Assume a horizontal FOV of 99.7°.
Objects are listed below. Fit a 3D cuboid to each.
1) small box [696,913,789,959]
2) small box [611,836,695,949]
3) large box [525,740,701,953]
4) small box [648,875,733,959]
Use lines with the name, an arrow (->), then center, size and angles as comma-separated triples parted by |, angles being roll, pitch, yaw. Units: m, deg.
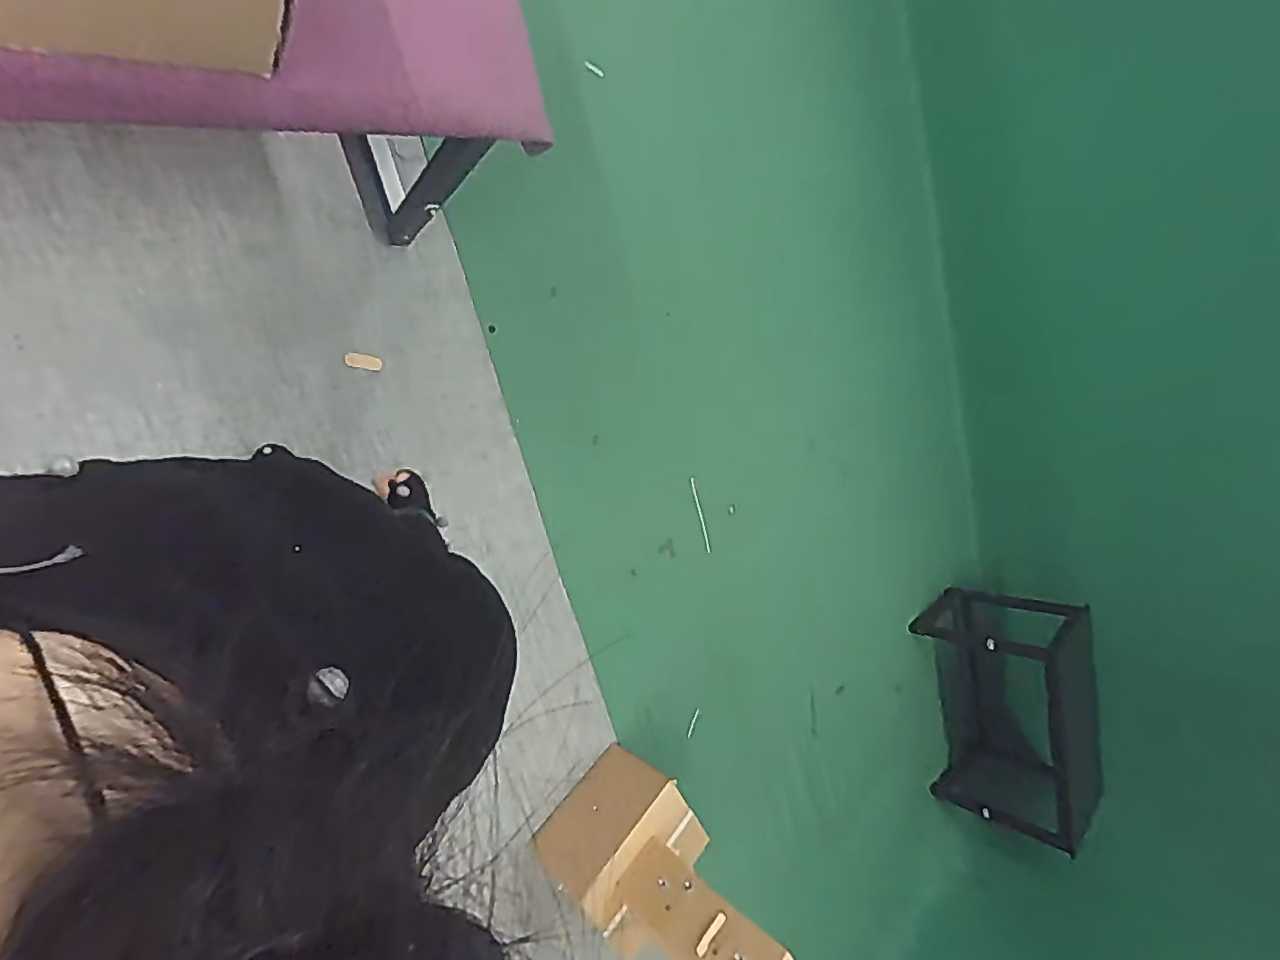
small box -> 0.253, 1.175, 1.269 | 0.168, 0.176, 0.179 | -36, 110, -32
small box -> 0.051, 1.163, 1.528 | 0.179, 0.176, 0.168 | -36, 111, -32
large box -> -0.083, 1.143, 1.734 | 0.408, 0.320, 0.320 | -41, 116, -32
small box -> 0.147, 1.173, 1.395 | 0.168, 0.176, 0.179 | -34, 110, -33
